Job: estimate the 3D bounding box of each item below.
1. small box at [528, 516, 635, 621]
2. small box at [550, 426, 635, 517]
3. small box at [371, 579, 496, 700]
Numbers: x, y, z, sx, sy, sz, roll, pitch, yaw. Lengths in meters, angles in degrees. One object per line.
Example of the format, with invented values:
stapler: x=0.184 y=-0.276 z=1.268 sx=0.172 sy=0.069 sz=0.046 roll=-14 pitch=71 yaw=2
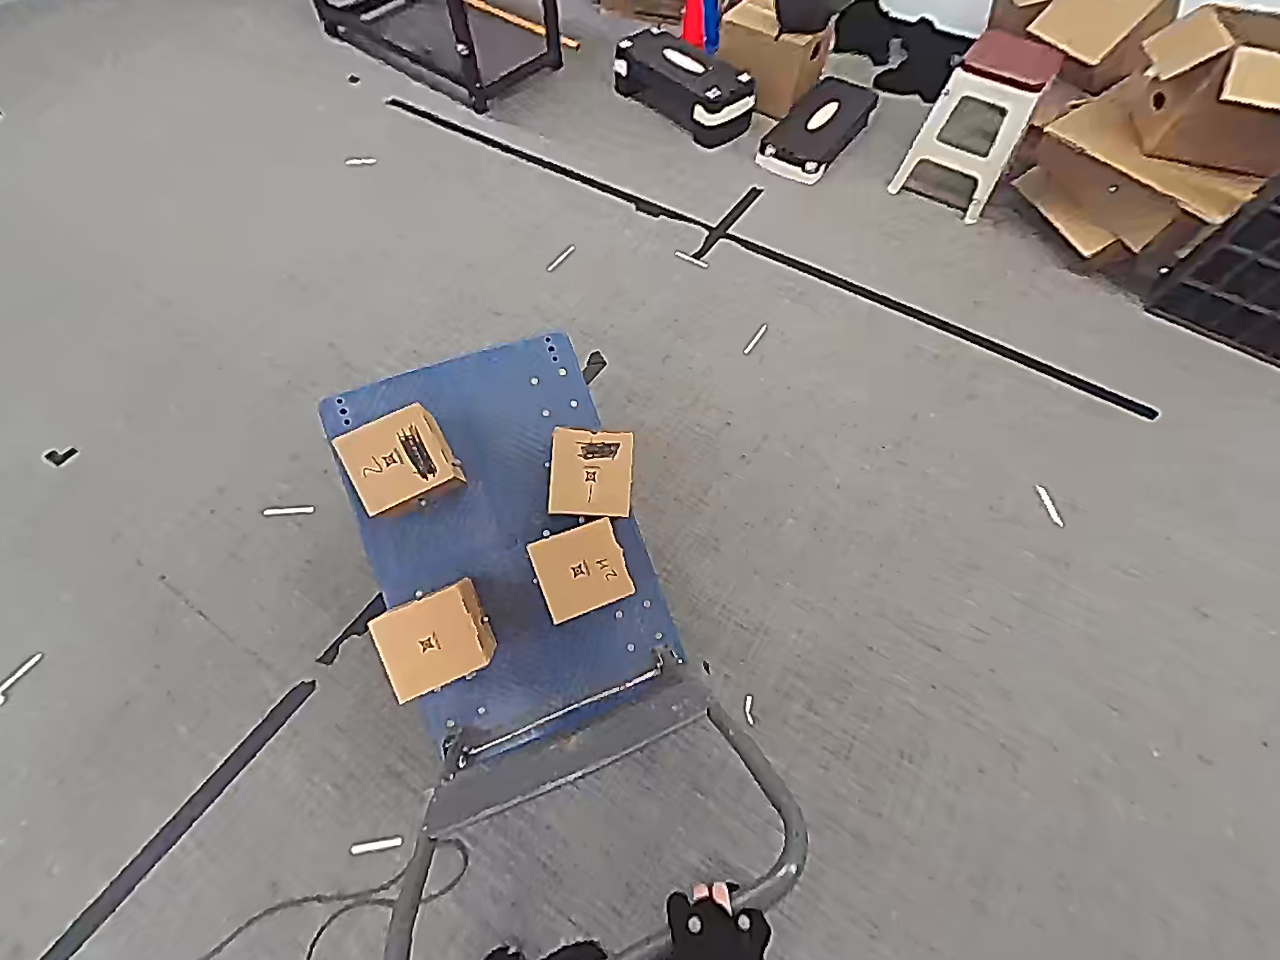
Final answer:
small box: x=-0.126 y=0.183 z=1.157 sx=0.179 sy=0.176 sz=0.168 roll=-20 pitch=89 yaw=-10
small box: x=-0.108 y=-0.011 z=1.178 sx=0.168 sy=0.176 sz=0.179 roll=3 pitch=85 yaw=-8
small box: x=-0.408 y=0.313 z=1.100 sx=0.179 sy=0.176 sz=0.168 roll=-23 pitch=89 yaw=-12
